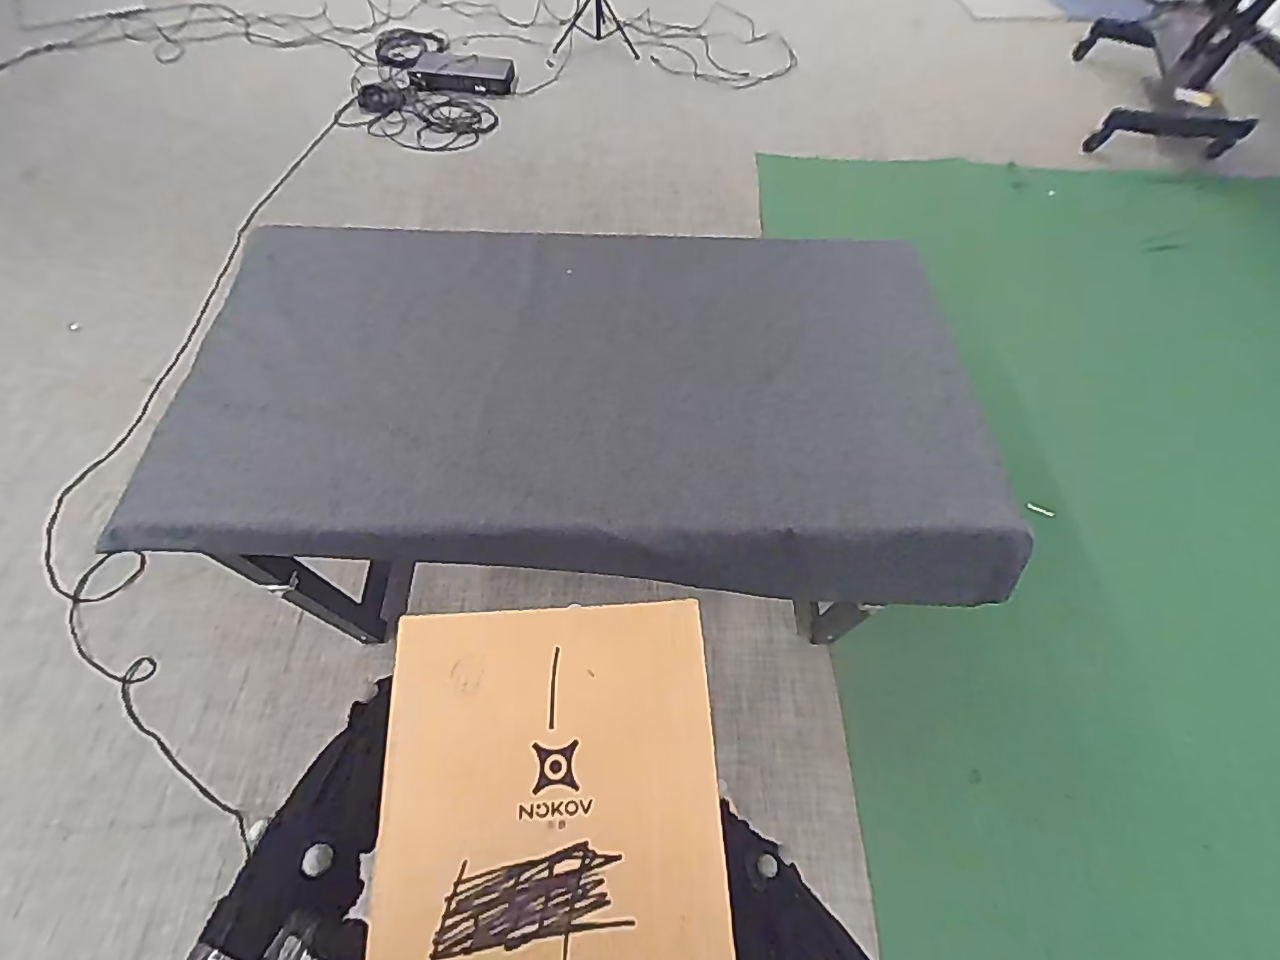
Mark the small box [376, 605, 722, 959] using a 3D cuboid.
[{"bbox_3d":[-0.047,0.183,0.354,0.168,0.176,0.179,-1,68,-4],"label":"small box"}]
